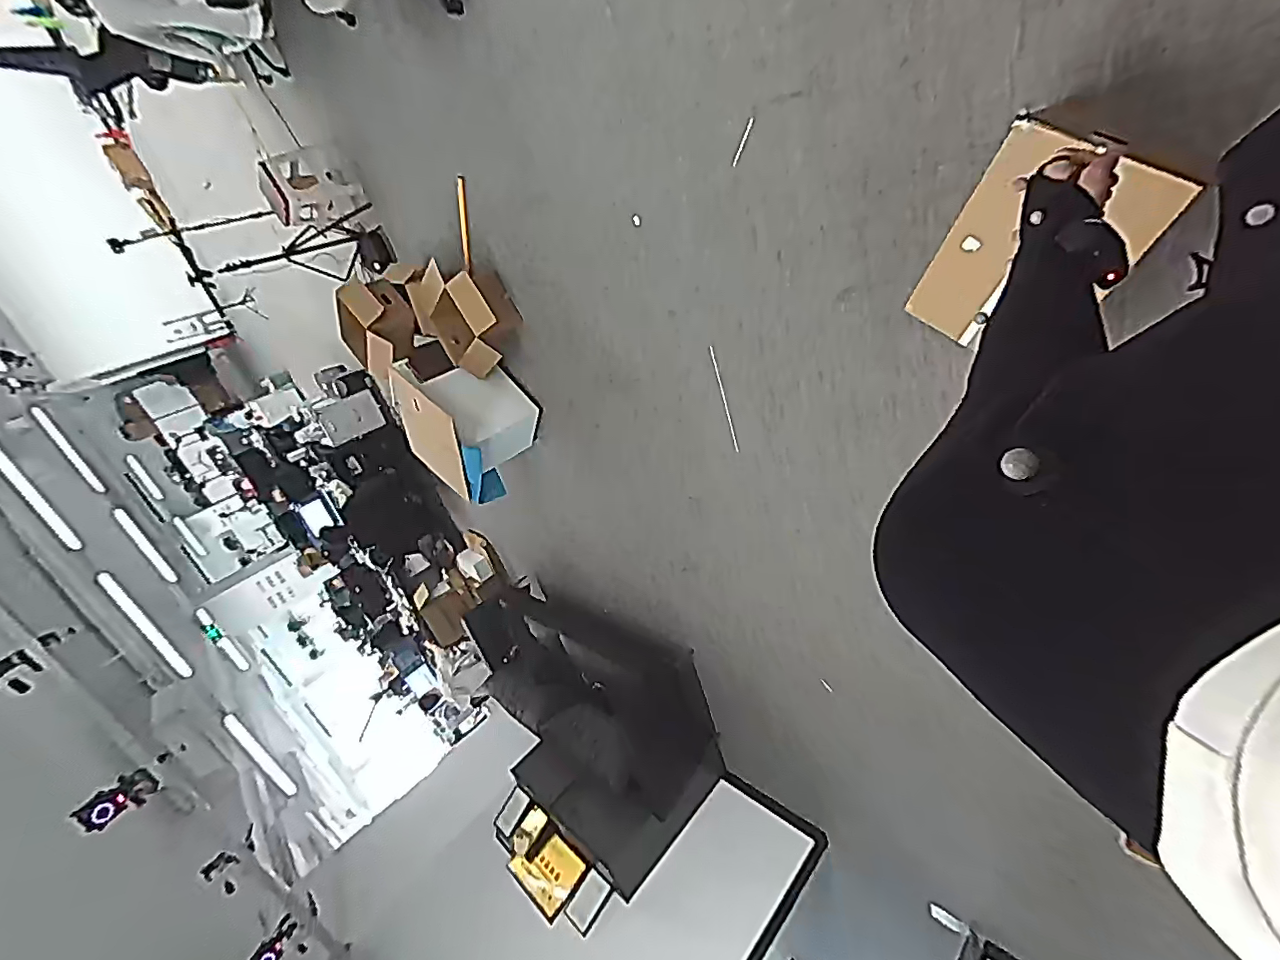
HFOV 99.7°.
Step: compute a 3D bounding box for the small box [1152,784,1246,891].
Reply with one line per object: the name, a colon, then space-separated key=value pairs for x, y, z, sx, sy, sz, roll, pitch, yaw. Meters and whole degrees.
small box: x=1.644 y=1.038 z=1.592 sx=0.179 sy=0.176 sz=0.168 roll=6 pitch=123 yaw=49
